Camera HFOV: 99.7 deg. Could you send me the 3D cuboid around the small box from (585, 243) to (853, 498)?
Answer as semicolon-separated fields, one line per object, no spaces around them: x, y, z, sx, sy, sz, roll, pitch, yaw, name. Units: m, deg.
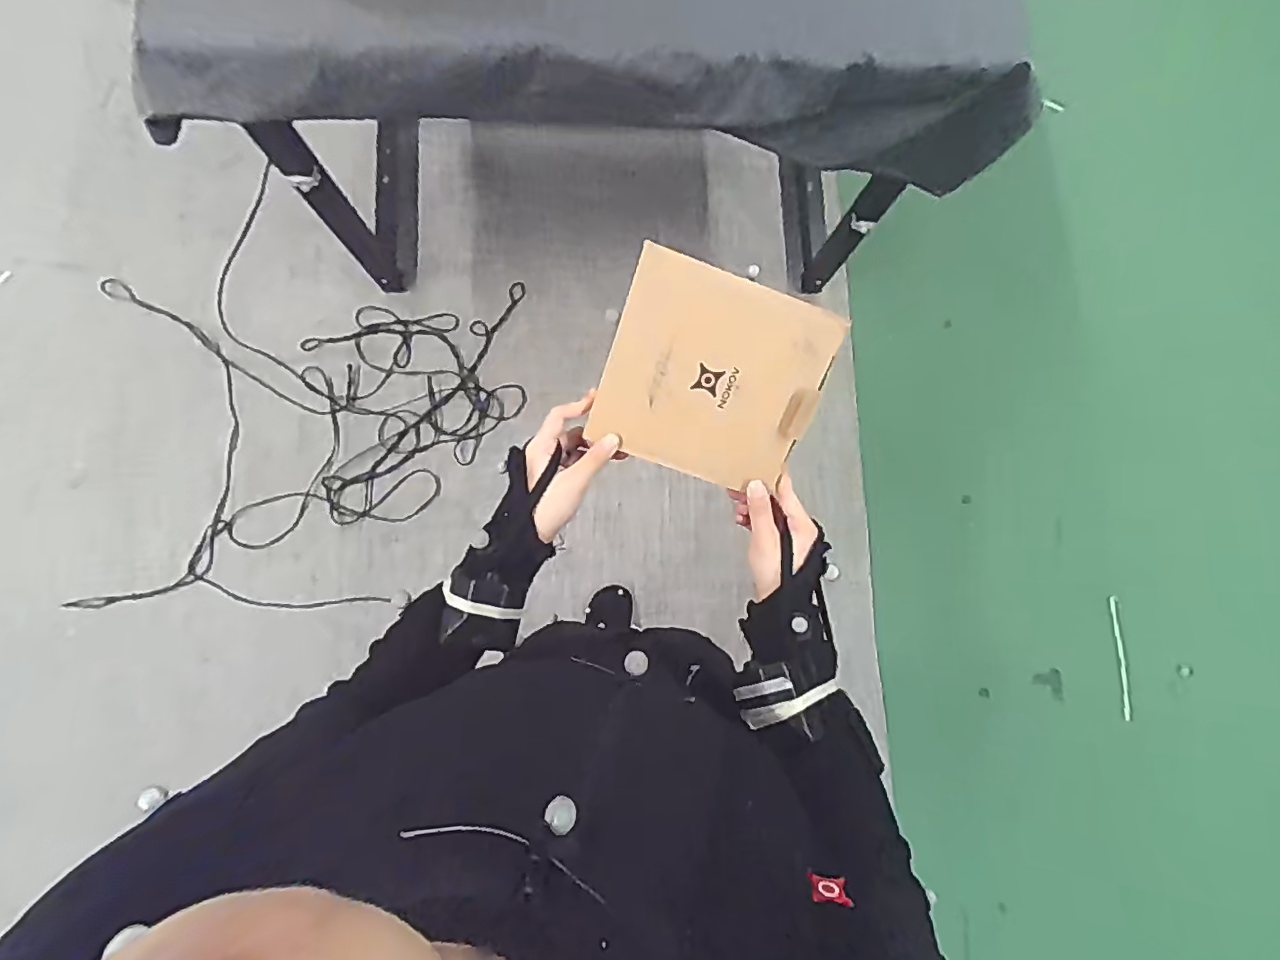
0.063;-0.108;0.515;0.179;0.176;0.168;18;108;-5;small box
